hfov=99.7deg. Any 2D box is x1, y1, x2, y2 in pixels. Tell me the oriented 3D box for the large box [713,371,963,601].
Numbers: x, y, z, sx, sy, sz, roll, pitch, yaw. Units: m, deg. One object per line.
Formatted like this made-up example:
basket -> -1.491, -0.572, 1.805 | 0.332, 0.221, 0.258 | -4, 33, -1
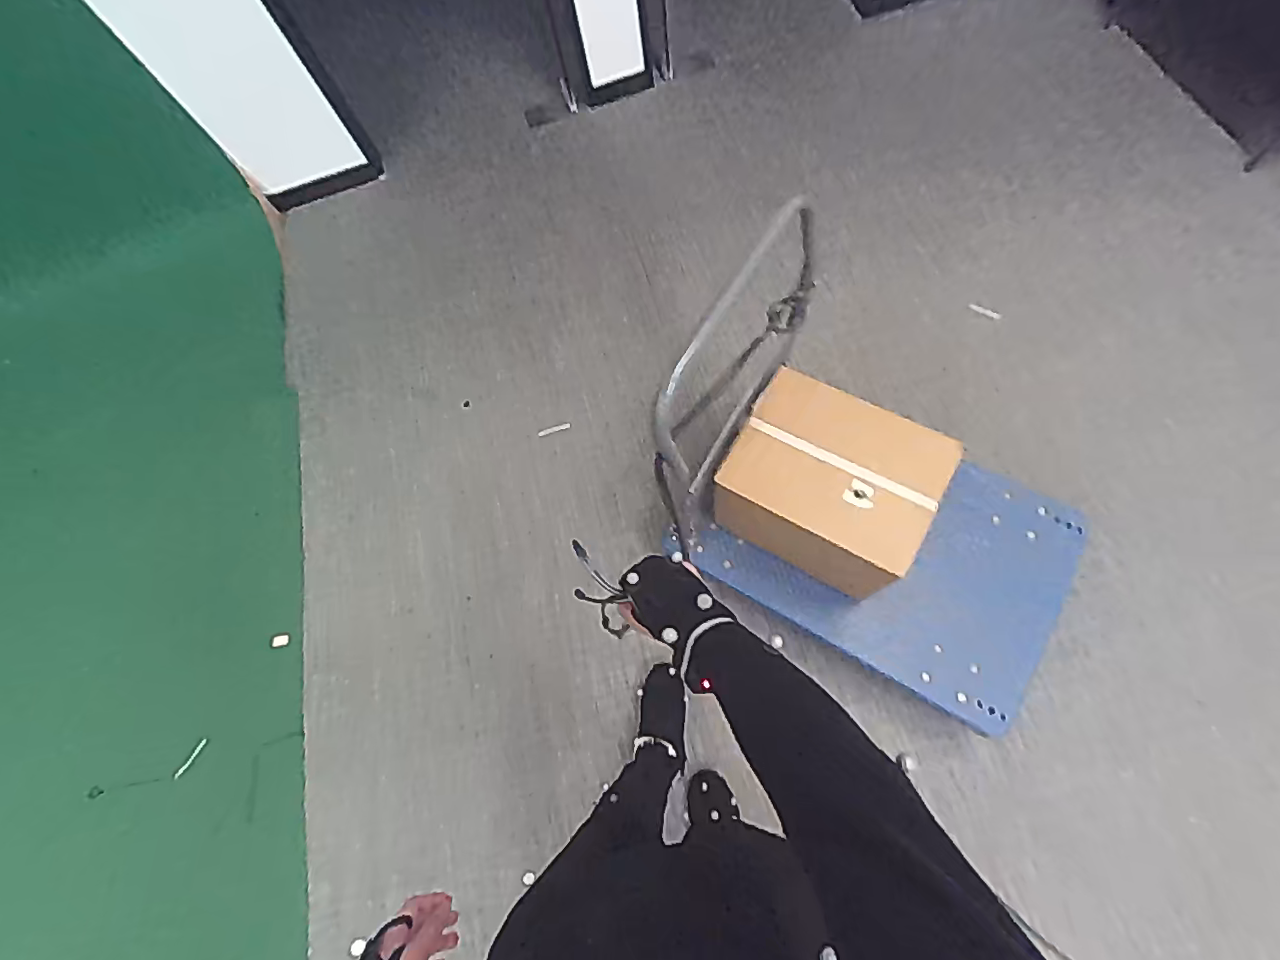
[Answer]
large box -> 0.411, 0.023, 1.223 | 0.408, 0.320, 0.320 | 28, 76, 16
